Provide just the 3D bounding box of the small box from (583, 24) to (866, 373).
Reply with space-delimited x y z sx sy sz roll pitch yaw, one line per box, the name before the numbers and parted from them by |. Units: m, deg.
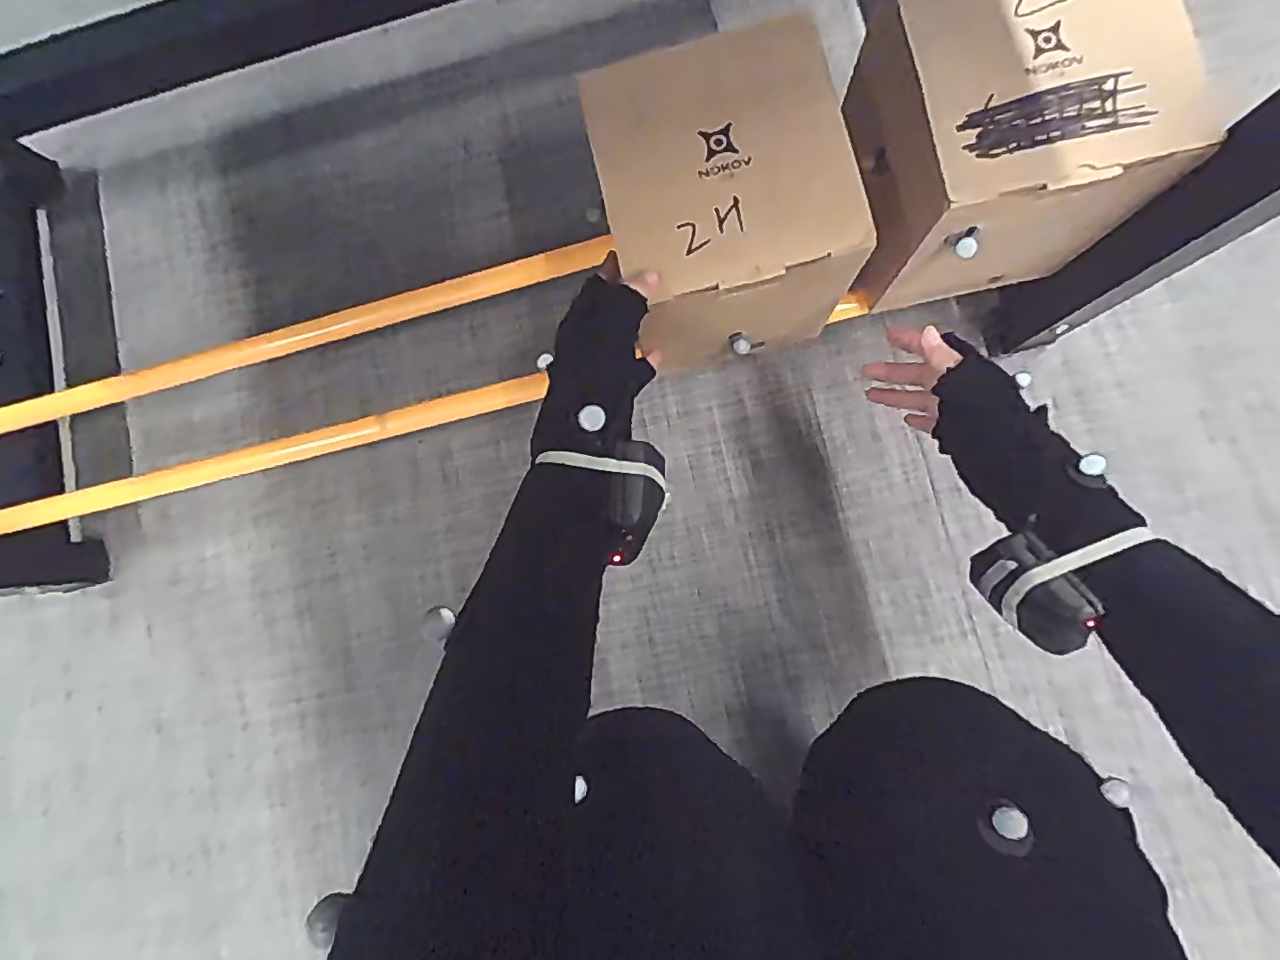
small box | 0.060 -0.210 0.451 0.168 0.176 0.179 -13 84 4
